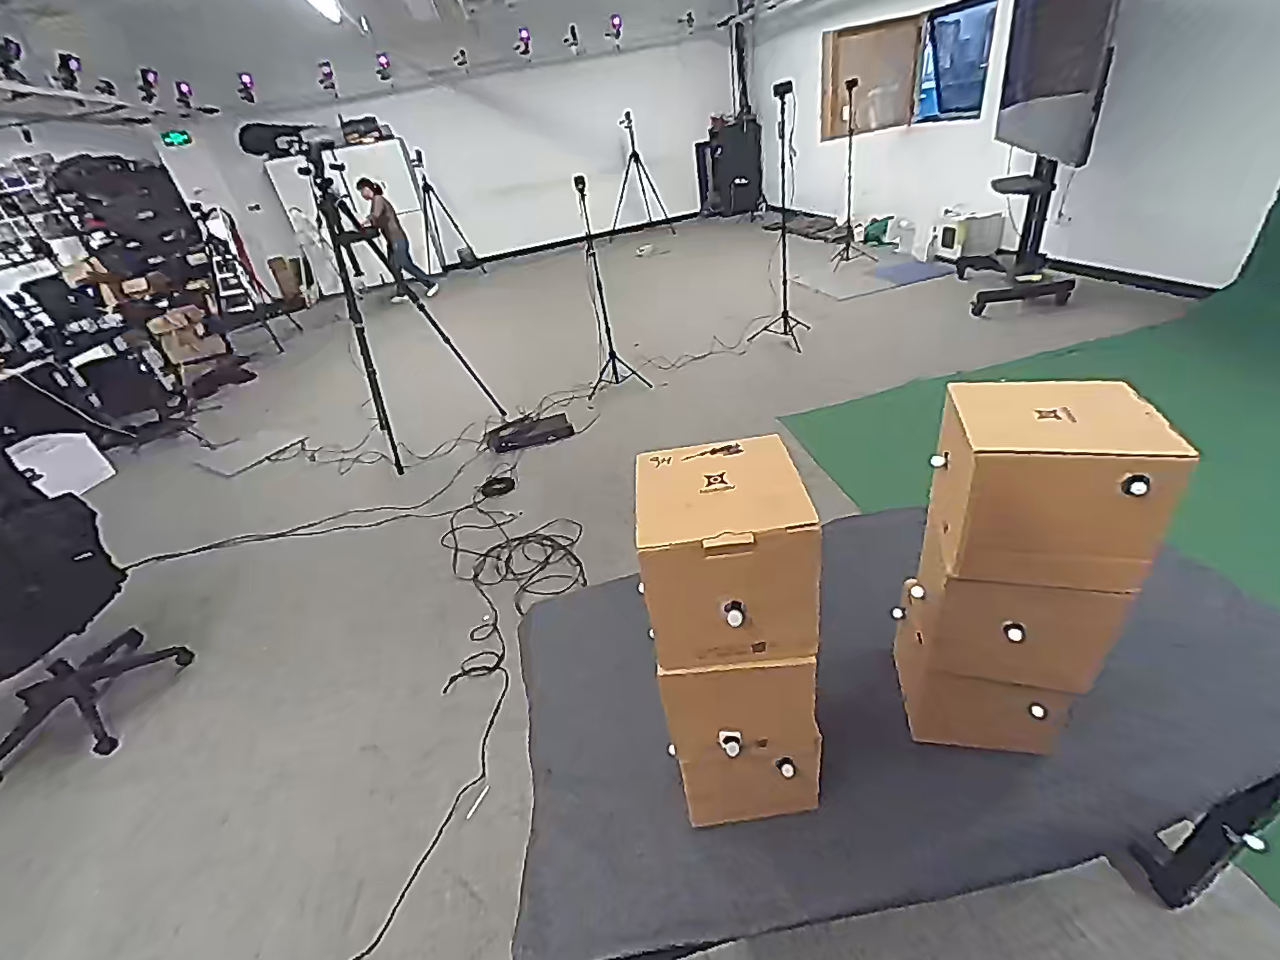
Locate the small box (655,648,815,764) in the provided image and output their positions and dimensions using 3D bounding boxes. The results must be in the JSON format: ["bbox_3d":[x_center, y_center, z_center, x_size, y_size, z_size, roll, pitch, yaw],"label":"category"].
[{"bbox_3d":[0.112,0.218,0.667,0.168,0.176,0.179,-8,33,7],"label":"small box"}]

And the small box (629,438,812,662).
[{"bbox_3d":[0.086,0.078,0.585,0.168,0.176,0.179,-8,33,6],"label":"small box"}]

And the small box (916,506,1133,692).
[{"bbox_3d":[0.460,0.140,0.682,0.179,0.176,0.168,3,34,21],"label":"small box"}]

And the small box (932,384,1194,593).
[{"bbox_3d":[0.432,0.005,0.596,0.179,0.176,0.168,3,34,18],"label":"small box"}]

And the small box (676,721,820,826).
[{"bbox_3d":[0.138,0.351,0.757,0.179,0.176,0.168,-10,32,2],"label":"small box"}]
